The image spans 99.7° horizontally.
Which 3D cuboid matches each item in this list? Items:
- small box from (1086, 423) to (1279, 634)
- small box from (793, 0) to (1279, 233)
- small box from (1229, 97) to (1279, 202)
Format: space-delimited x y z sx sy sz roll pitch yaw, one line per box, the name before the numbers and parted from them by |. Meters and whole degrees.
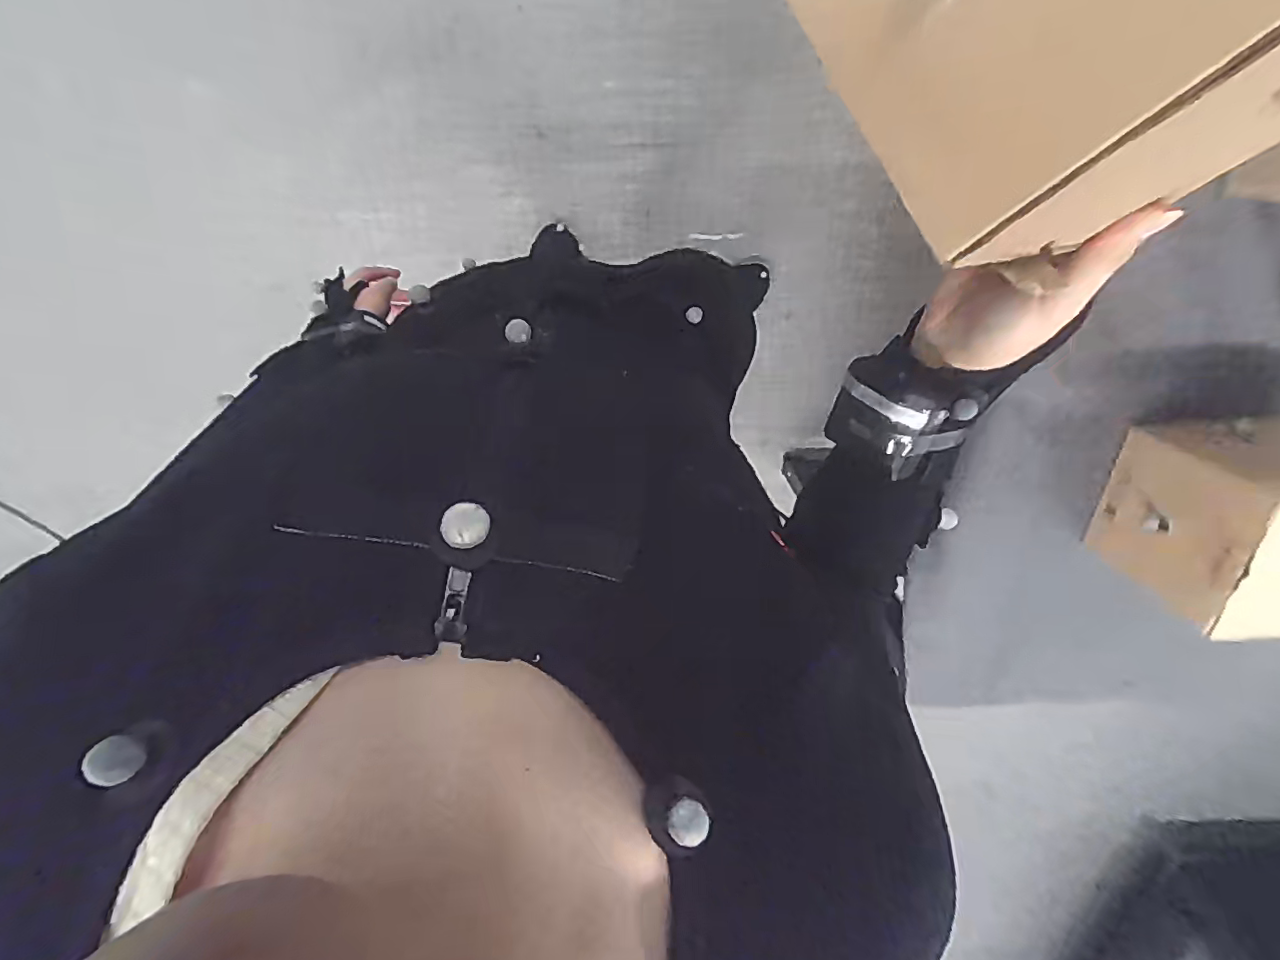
small box | 0.645 0.044 0.584 0.179 0.176 0.168 -2 118 0
small box | 0.155 -0.206 0.162 0.176 0.168 0.179 63 146 8
small box | 0.630 -0.296 0.402 0.179 0.176 0.168 2 118 -4
